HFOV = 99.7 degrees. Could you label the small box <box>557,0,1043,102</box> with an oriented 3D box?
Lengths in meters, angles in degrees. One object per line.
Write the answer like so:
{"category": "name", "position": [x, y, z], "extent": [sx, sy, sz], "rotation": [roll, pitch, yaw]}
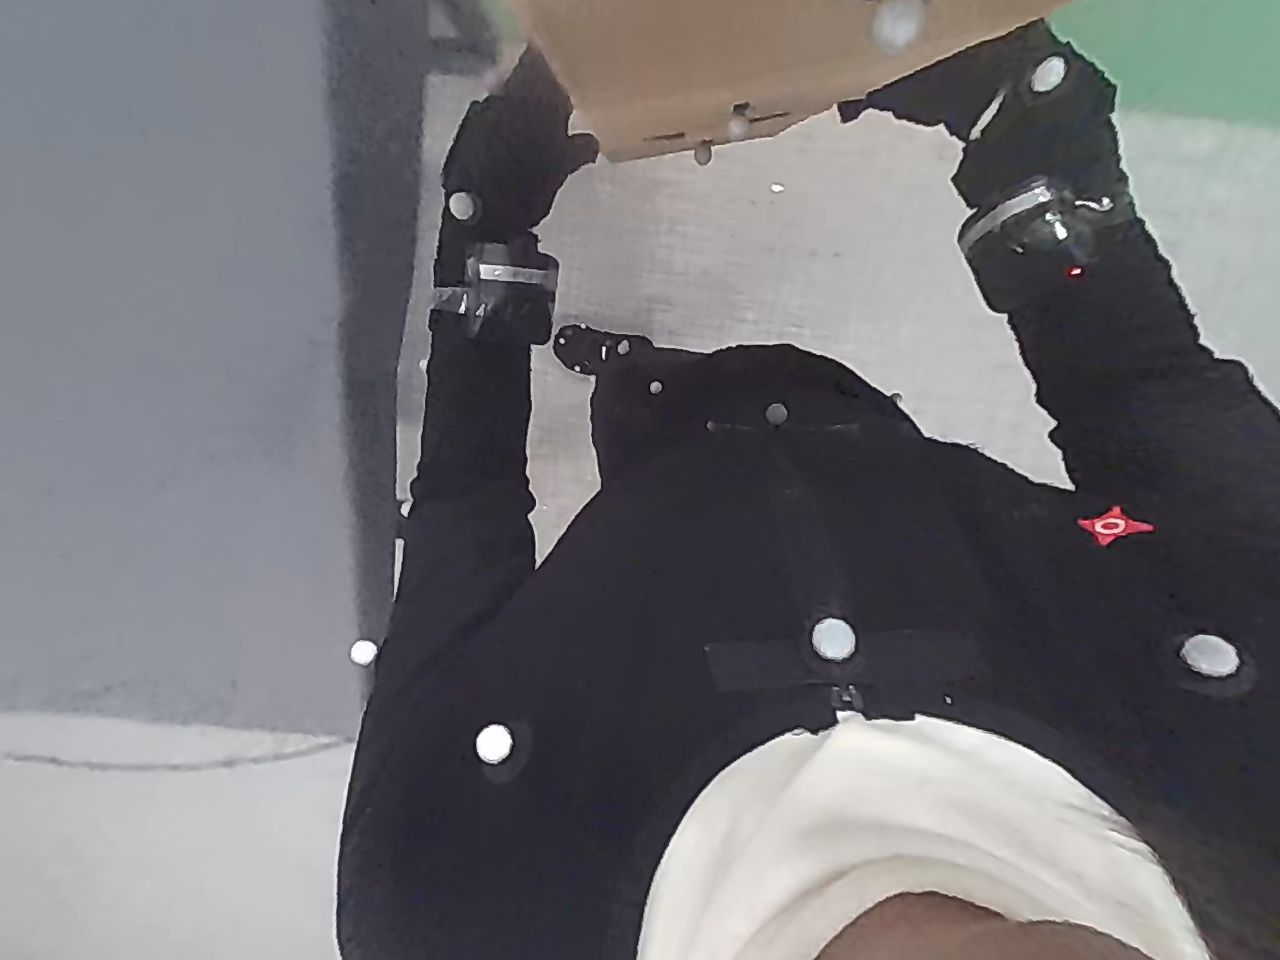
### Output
{"category": "small box", "position": [0.051, -0.203, 0.117], "extent": [0.179, 0.176, 0.168], "rotation": [-8, 118, 4]}
